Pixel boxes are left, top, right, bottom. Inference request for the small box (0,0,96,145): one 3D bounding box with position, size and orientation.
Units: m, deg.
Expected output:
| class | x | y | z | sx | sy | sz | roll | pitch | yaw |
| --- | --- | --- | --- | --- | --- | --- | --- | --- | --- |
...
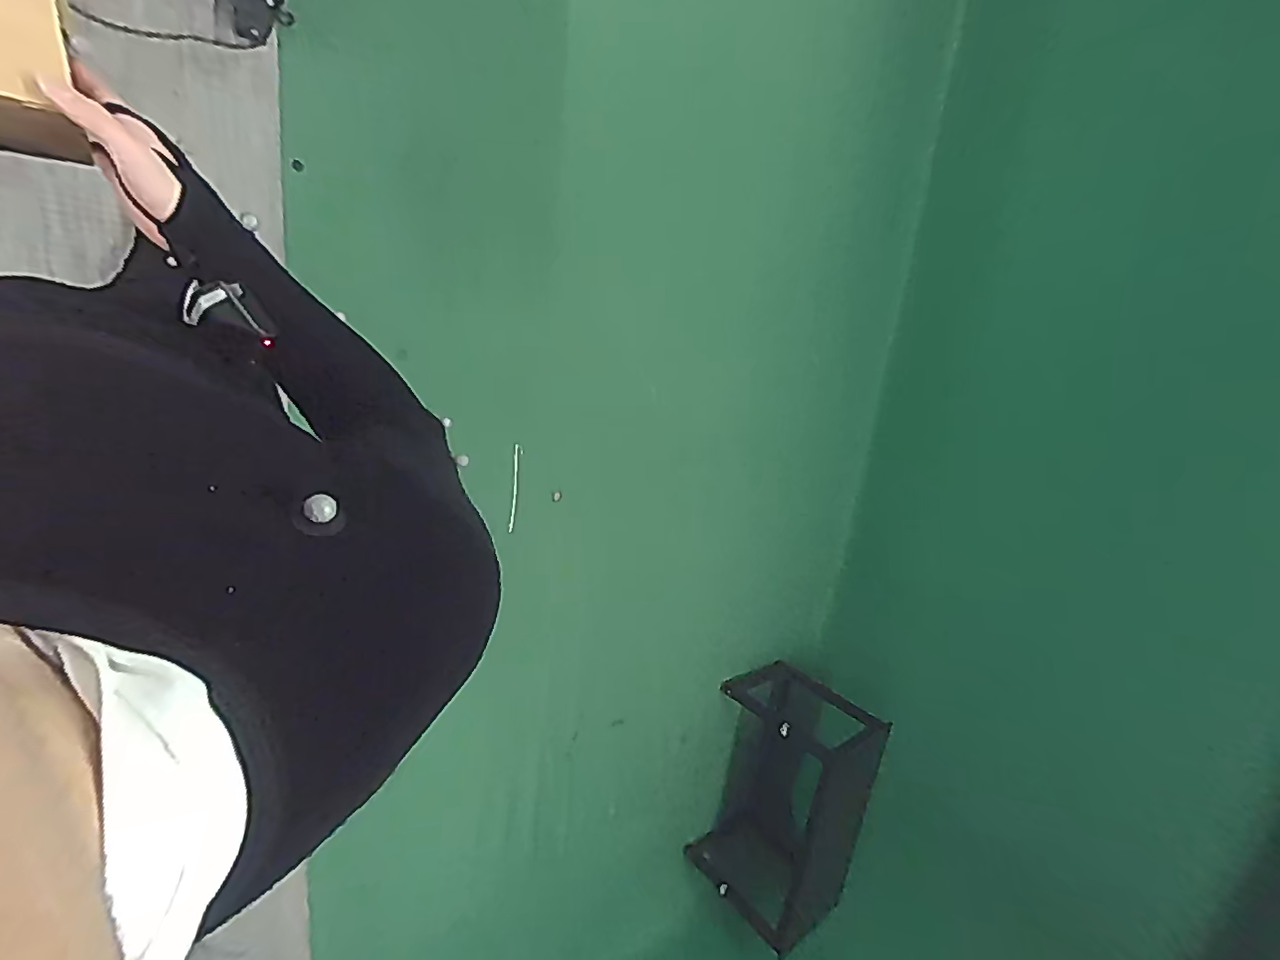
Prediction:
| class | x | y | z | sx | sy | sz | roll | pitch | yaw |
| --- | --- | --- | --- | --- | --- | --- | --- | --- | --- |
| small box | -0.528 | -0.368 | 0.388 | 0.168 | 0.176 | 0.179 | -11 | 110 | -39 |
